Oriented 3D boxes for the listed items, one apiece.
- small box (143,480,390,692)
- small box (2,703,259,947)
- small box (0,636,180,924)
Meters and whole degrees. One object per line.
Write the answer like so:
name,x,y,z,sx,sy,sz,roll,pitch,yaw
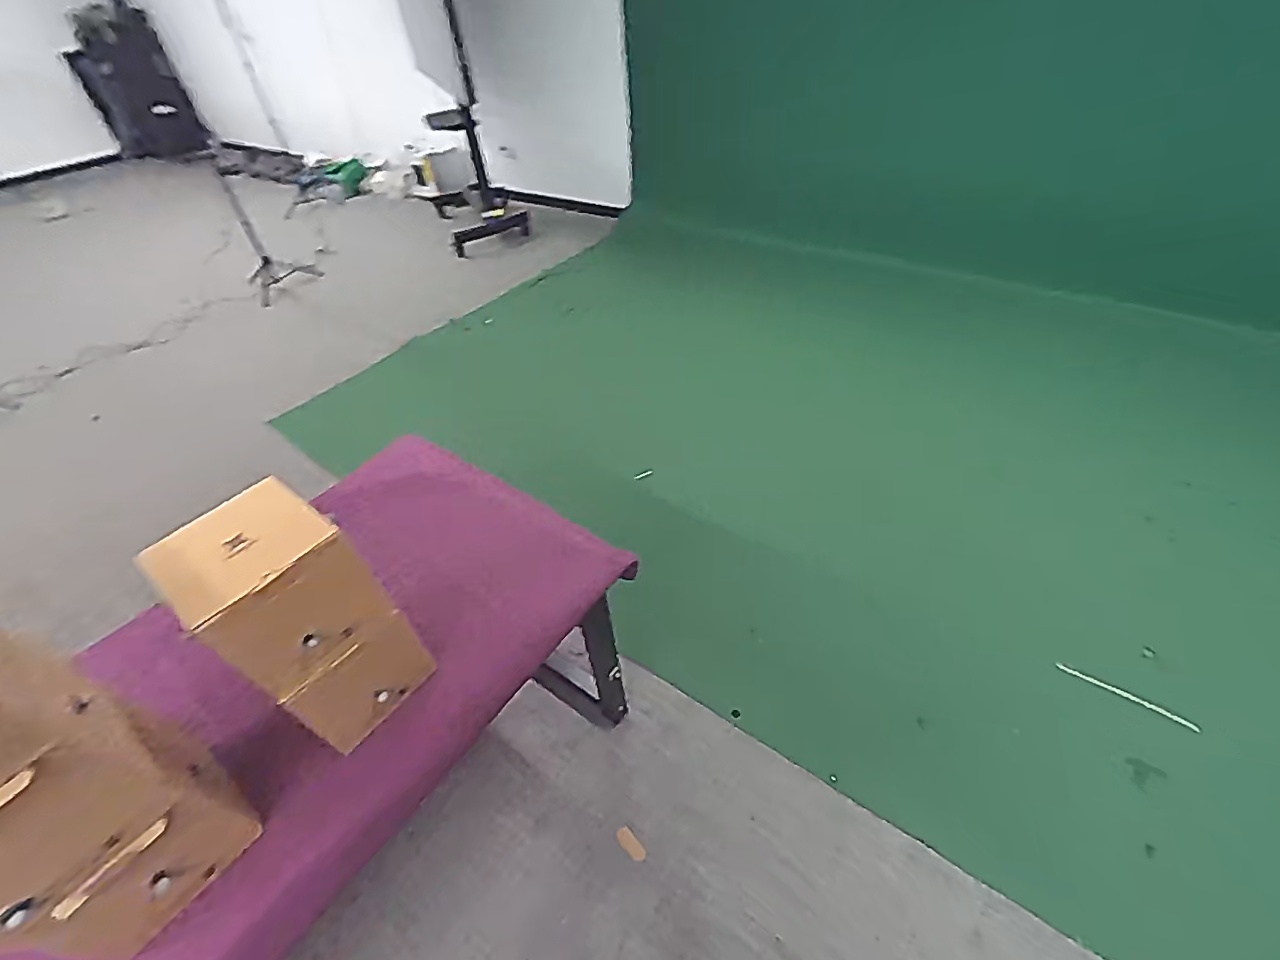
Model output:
small box,-0.461,0.134,0.689,0.179,0.176,0.168,25,51,28
small box,-0.610,0.413,0.649,0.179,0.176,0.168,26,51,27
small box,-0.615,0.296,0.533,0.179,0.176,0.168,25,51,28
